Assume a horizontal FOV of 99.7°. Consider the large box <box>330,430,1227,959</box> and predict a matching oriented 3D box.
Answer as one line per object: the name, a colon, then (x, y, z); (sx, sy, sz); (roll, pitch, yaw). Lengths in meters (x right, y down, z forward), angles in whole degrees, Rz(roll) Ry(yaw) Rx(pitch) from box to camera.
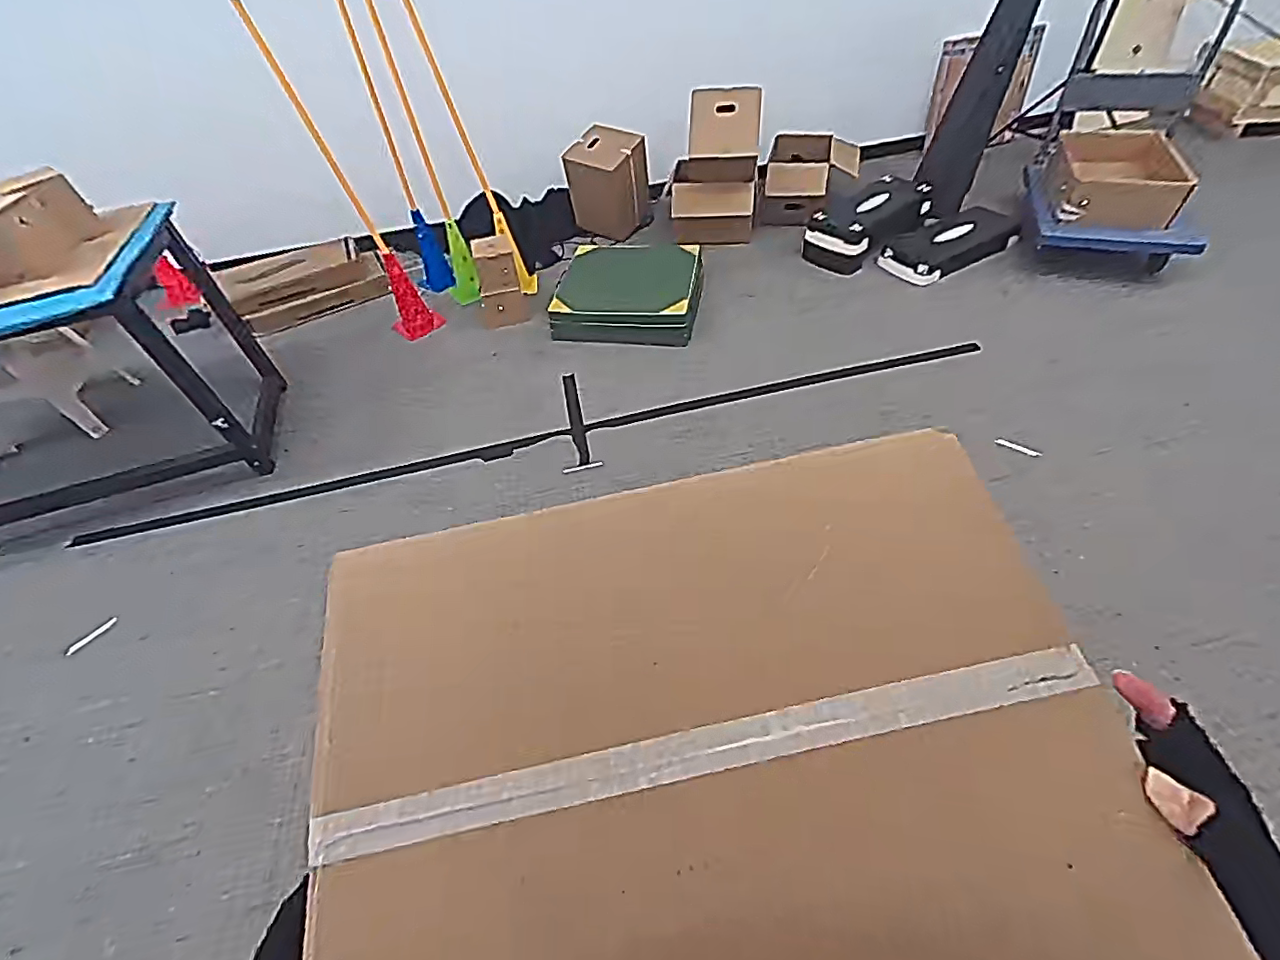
large box: (0.045, 0.209, 0.422); (0.408, 0.320, 0.320); (-12, 62, -1)
